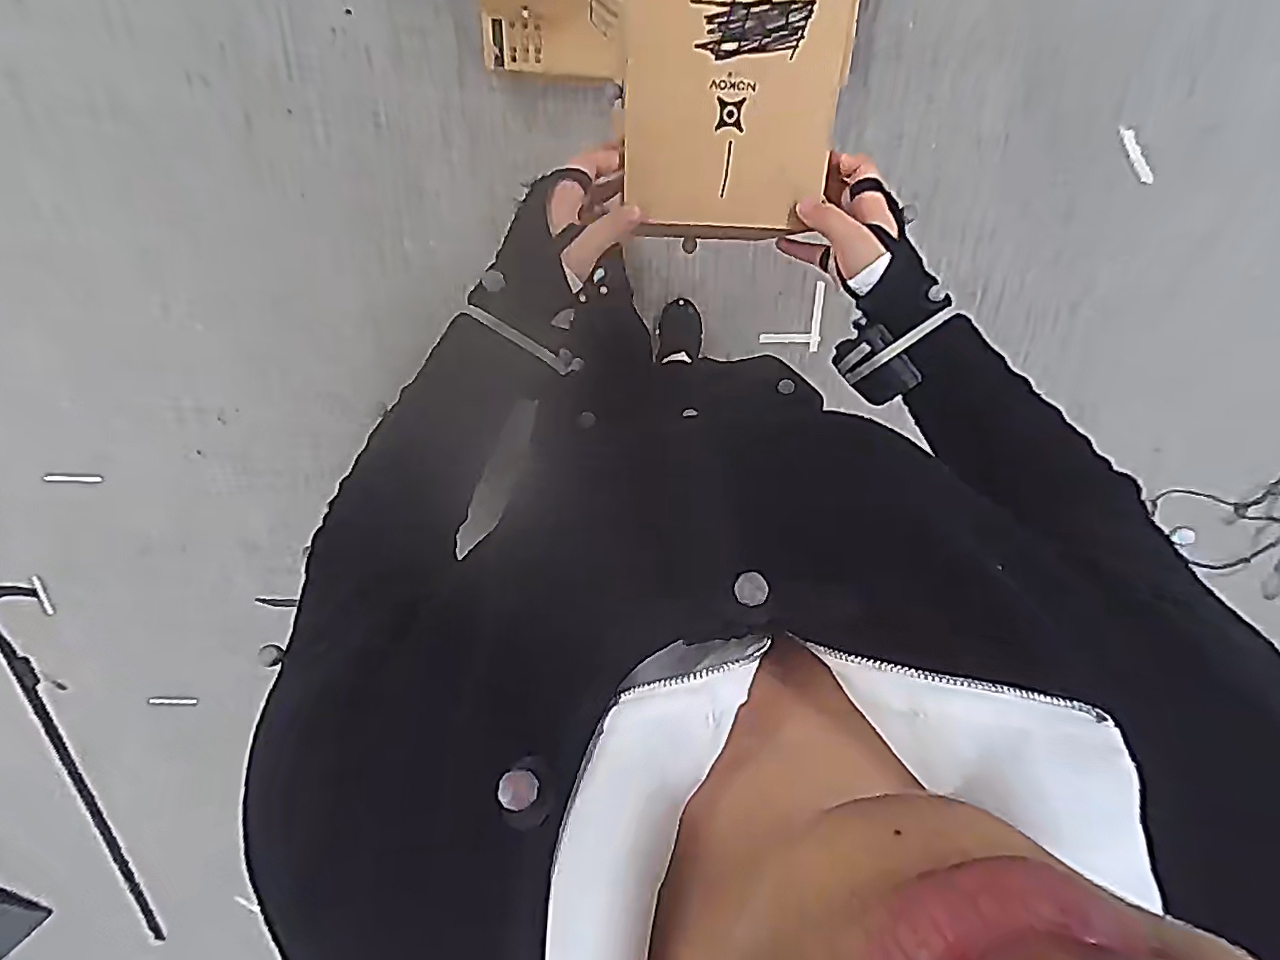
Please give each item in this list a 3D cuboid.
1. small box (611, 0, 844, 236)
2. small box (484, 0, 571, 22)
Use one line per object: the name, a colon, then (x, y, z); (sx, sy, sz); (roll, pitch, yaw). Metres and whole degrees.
small box: (0.060, -0.325, 0.489); (0.168, 0.176, 0.179); (0, 111, -6)
small box: (-0.209, -0.946, 0.943); (0.168, 0.176, 0.179); (1, 112, -2)
